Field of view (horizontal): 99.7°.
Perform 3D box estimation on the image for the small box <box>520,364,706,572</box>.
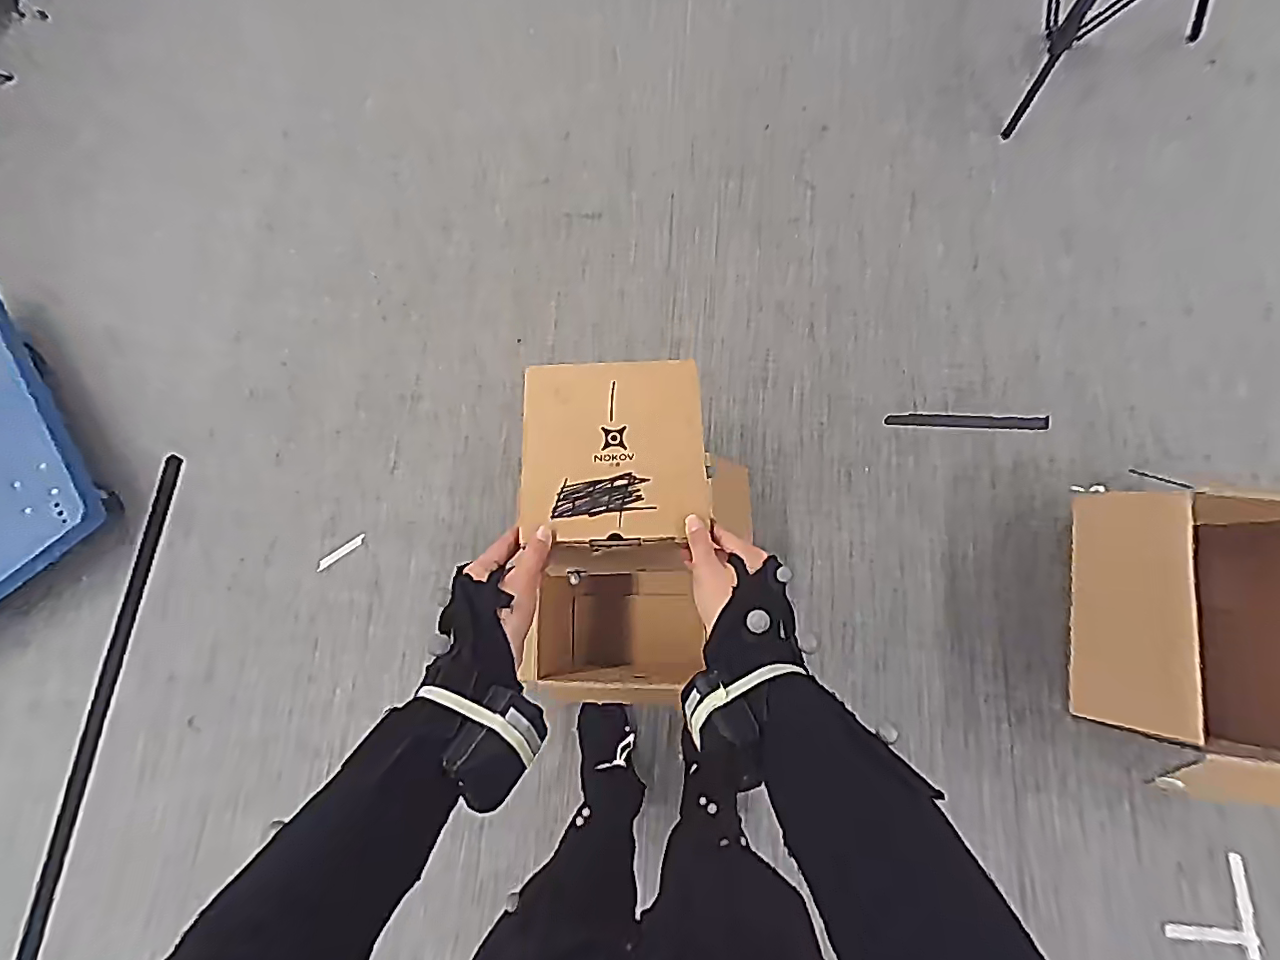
[{"bbox_3d":[-0.024,-0.001,0.569,0.168,0.176,0.179,-2,70,0],"label":"small box"}]
